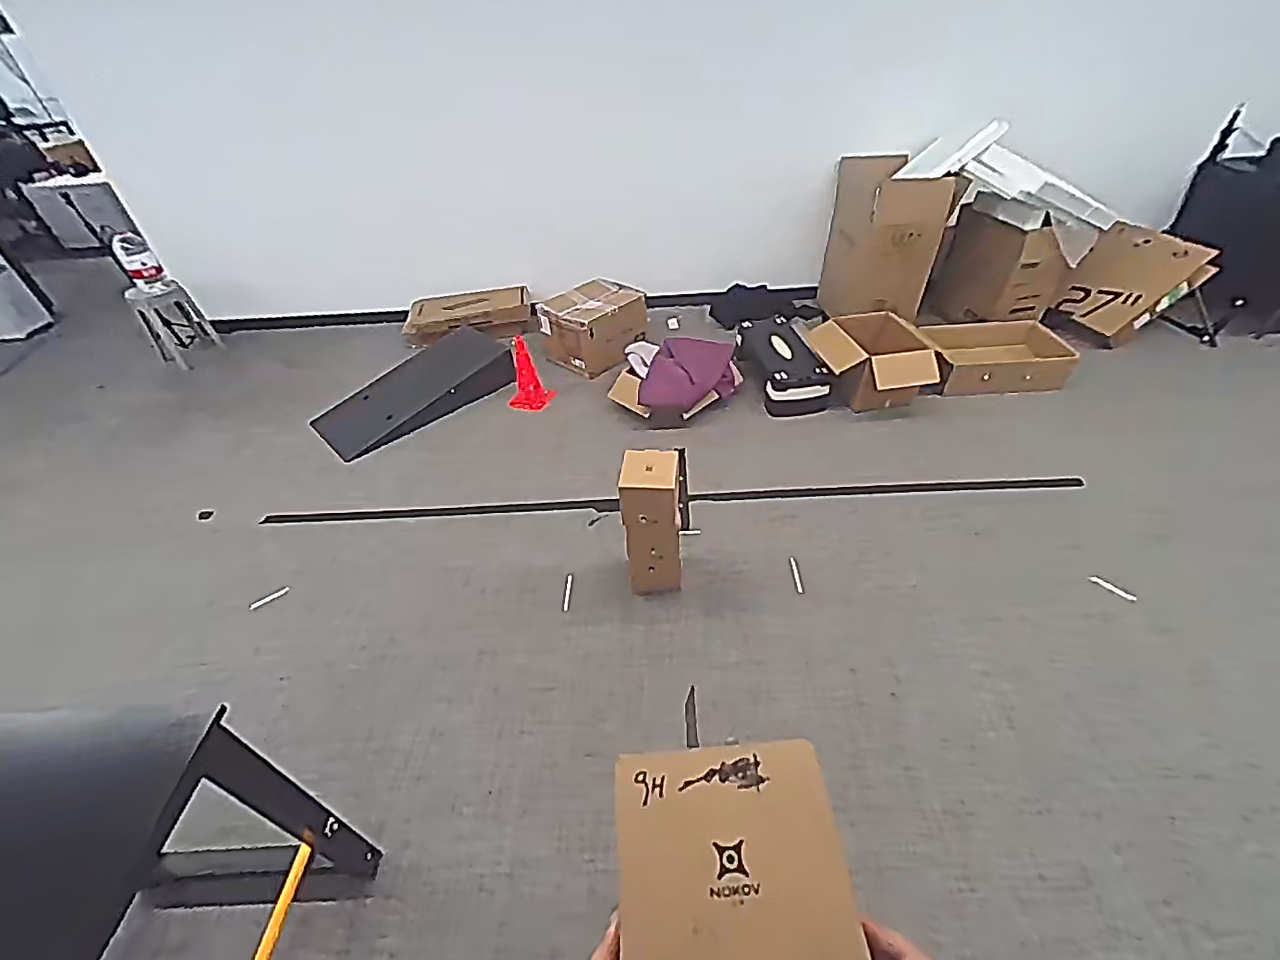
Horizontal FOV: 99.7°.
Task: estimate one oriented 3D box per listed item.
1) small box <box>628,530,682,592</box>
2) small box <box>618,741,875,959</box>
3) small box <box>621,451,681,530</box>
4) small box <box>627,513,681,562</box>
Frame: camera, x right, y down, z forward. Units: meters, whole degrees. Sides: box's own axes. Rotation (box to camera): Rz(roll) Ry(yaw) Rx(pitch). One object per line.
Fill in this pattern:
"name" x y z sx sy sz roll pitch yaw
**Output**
"small box" 0.052 0.273 1.871 0.179 0.176 0.168 -4 41 -1
"small box" 0.074 0.335 0.438 0.168 0.176 0.179 -6 47 0
"small box" 0.038 0.030 1.652 0.168 0.176 0.179 1 42 7
"small box" 0.048 0.148 1.764 0.168 0.176 0.179 -2 41 3
